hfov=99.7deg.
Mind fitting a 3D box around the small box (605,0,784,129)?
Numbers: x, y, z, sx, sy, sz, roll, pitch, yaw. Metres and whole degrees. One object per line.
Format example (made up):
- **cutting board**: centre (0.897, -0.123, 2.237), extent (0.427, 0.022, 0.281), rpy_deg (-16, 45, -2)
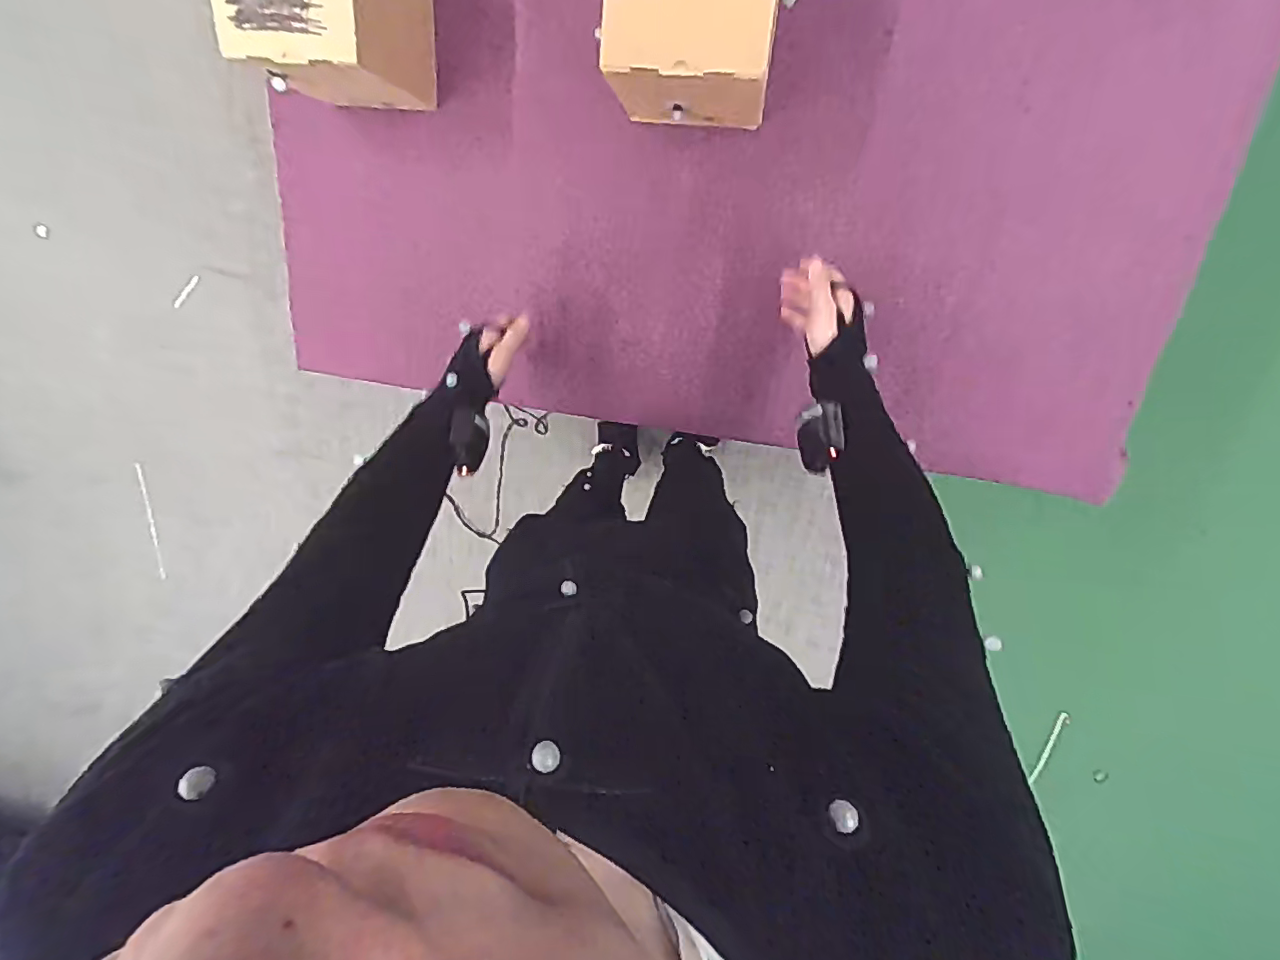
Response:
- **small box**: centre (0.065, -0.499, 0.570), extent (0.168, 0.176, 0.179), rpy_deg (8, 111, 6)
